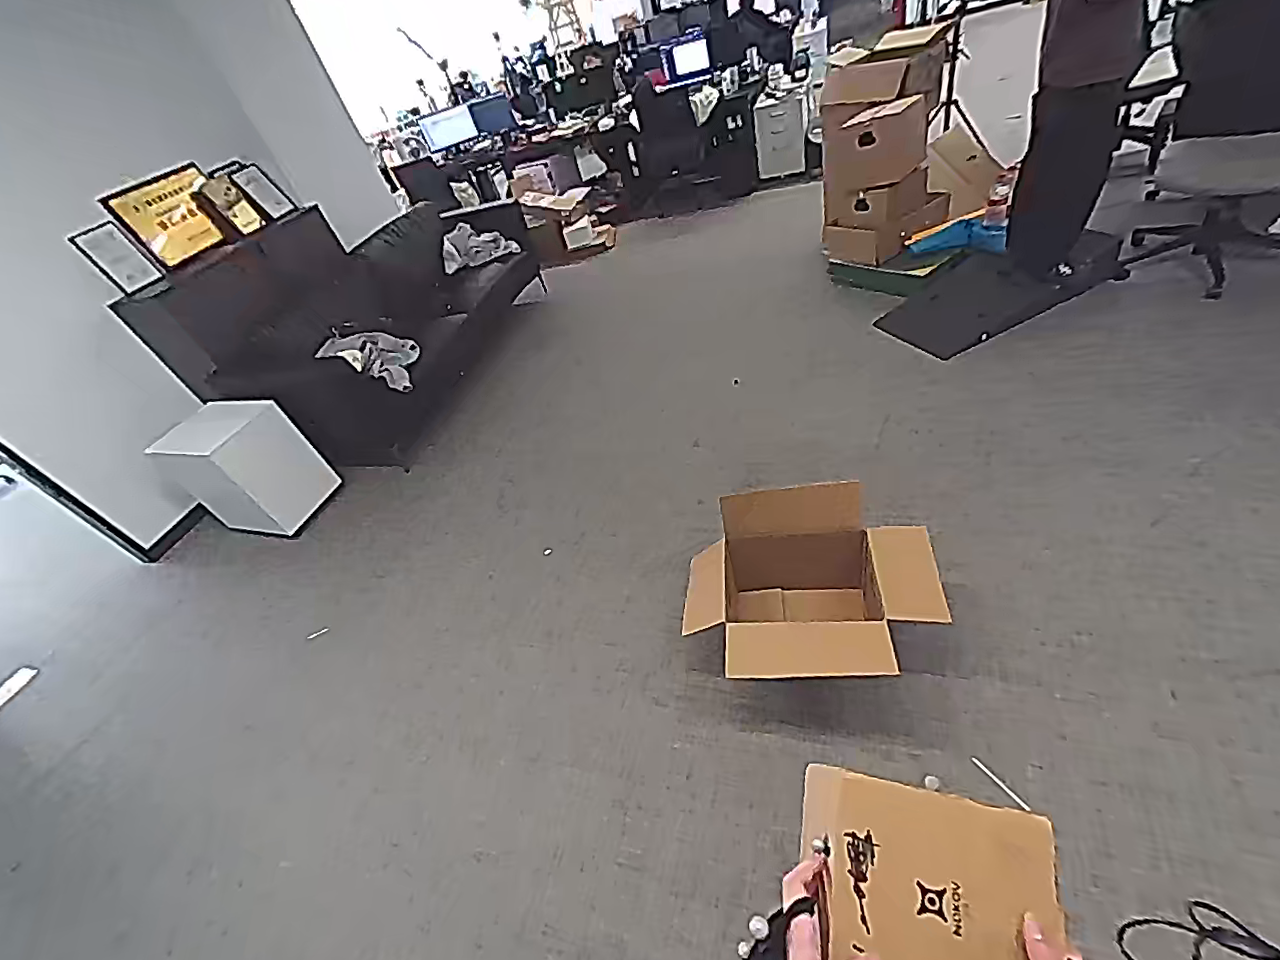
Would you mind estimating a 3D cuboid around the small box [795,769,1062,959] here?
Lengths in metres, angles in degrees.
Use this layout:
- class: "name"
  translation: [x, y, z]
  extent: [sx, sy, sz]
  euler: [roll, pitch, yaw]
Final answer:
- class: "small box"
  translation: [0.256, 0.382, 0.513]
  extent: [0.179, 0.176, 0.168]
  euler: [8, 63, 10]
